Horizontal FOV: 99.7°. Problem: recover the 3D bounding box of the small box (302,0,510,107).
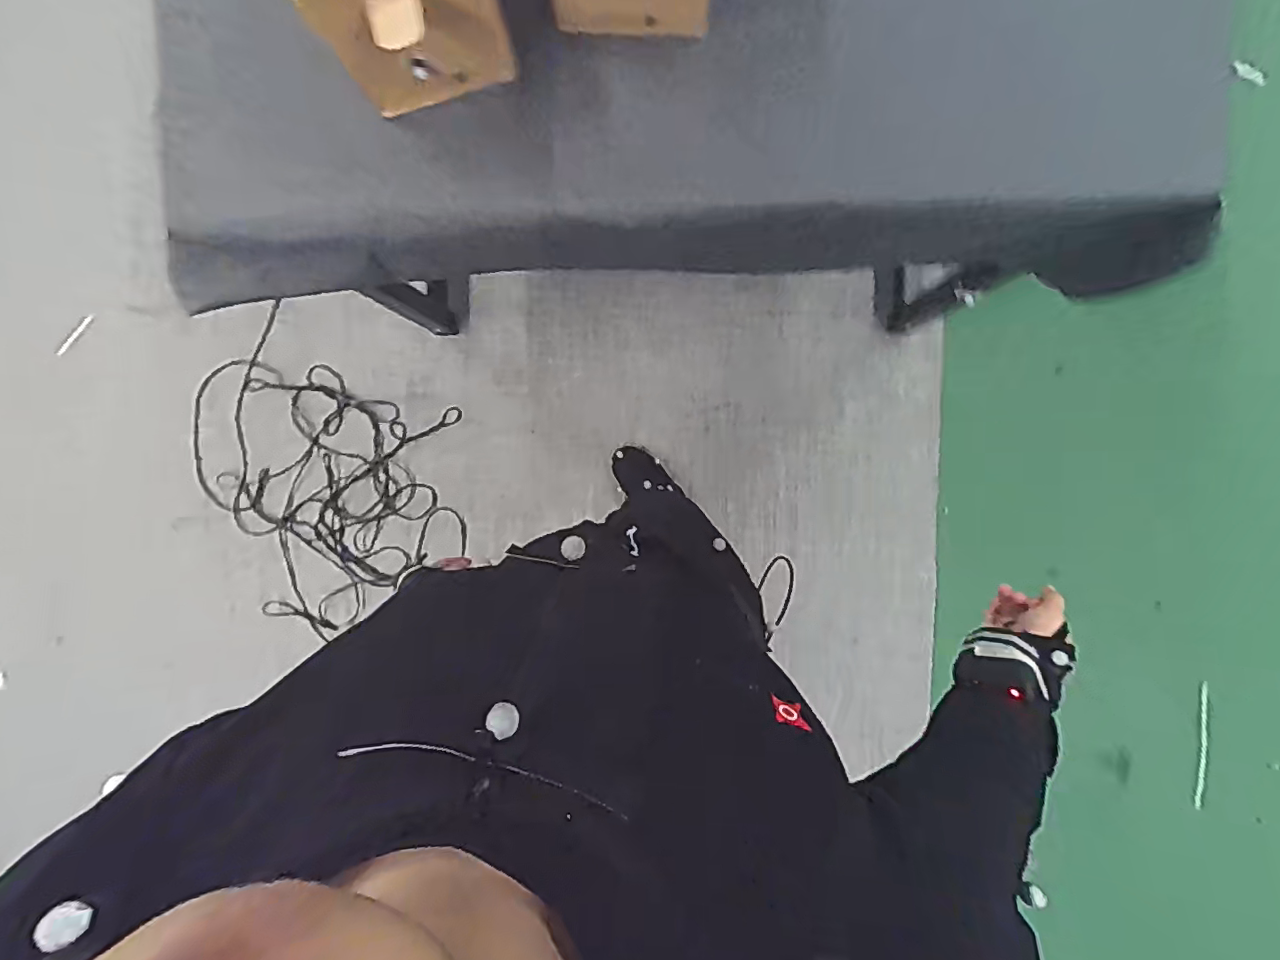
[{"bbox_3d":[-0.246,-0.524,0.534,0.168,0.176,0.179,-16,92,2],"label":"small box"}]
